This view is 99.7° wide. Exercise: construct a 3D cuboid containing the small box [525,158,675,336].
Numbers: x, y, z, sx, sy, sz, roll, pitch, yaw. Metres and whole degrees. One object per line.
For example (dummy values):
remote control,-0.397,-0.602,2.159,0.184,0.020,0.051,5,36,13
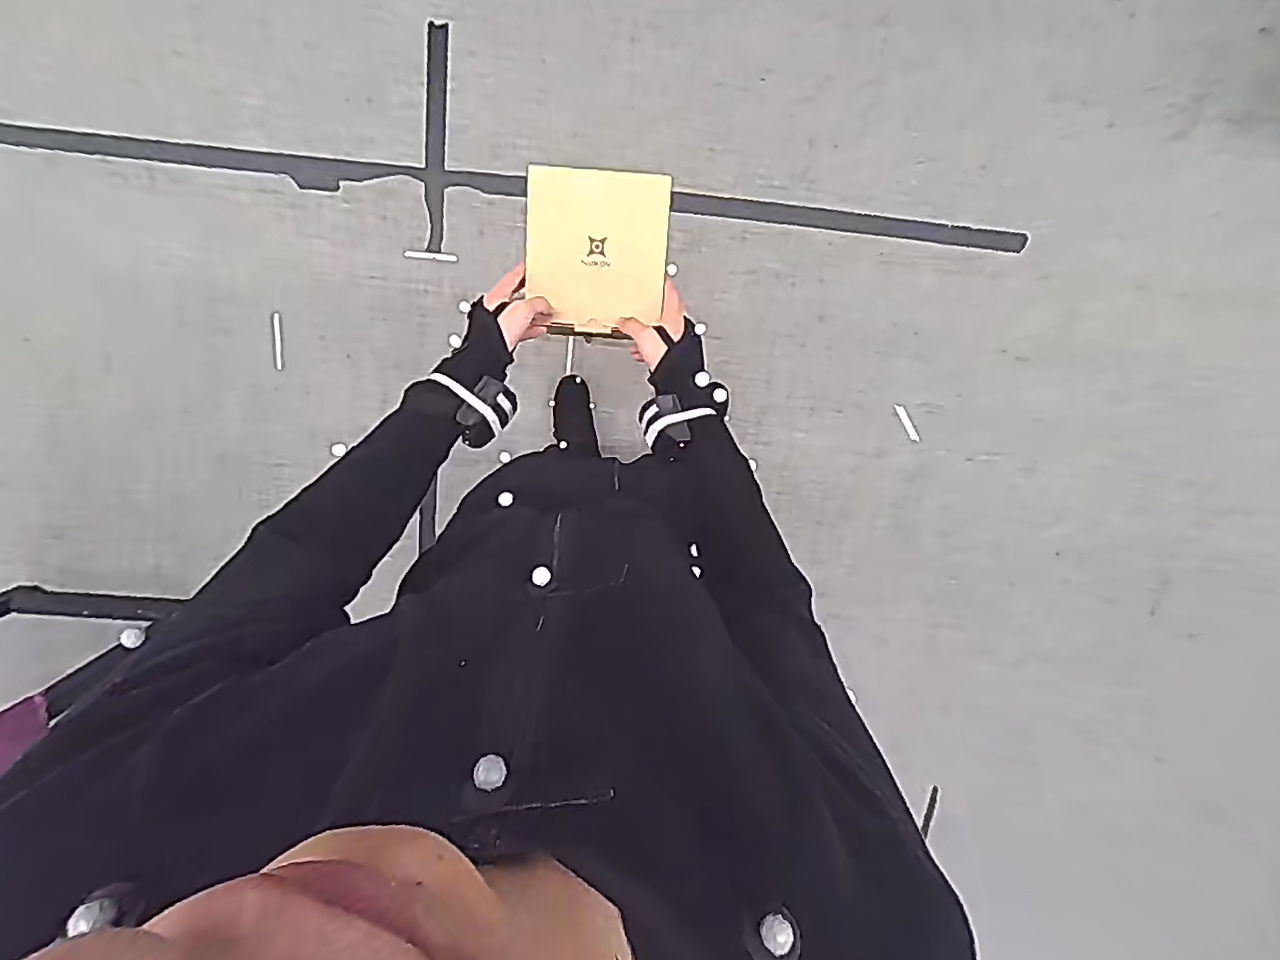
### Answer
small box,-0.051,-0.288,0.705,0.168,0.176,0.179,4,103,-2
